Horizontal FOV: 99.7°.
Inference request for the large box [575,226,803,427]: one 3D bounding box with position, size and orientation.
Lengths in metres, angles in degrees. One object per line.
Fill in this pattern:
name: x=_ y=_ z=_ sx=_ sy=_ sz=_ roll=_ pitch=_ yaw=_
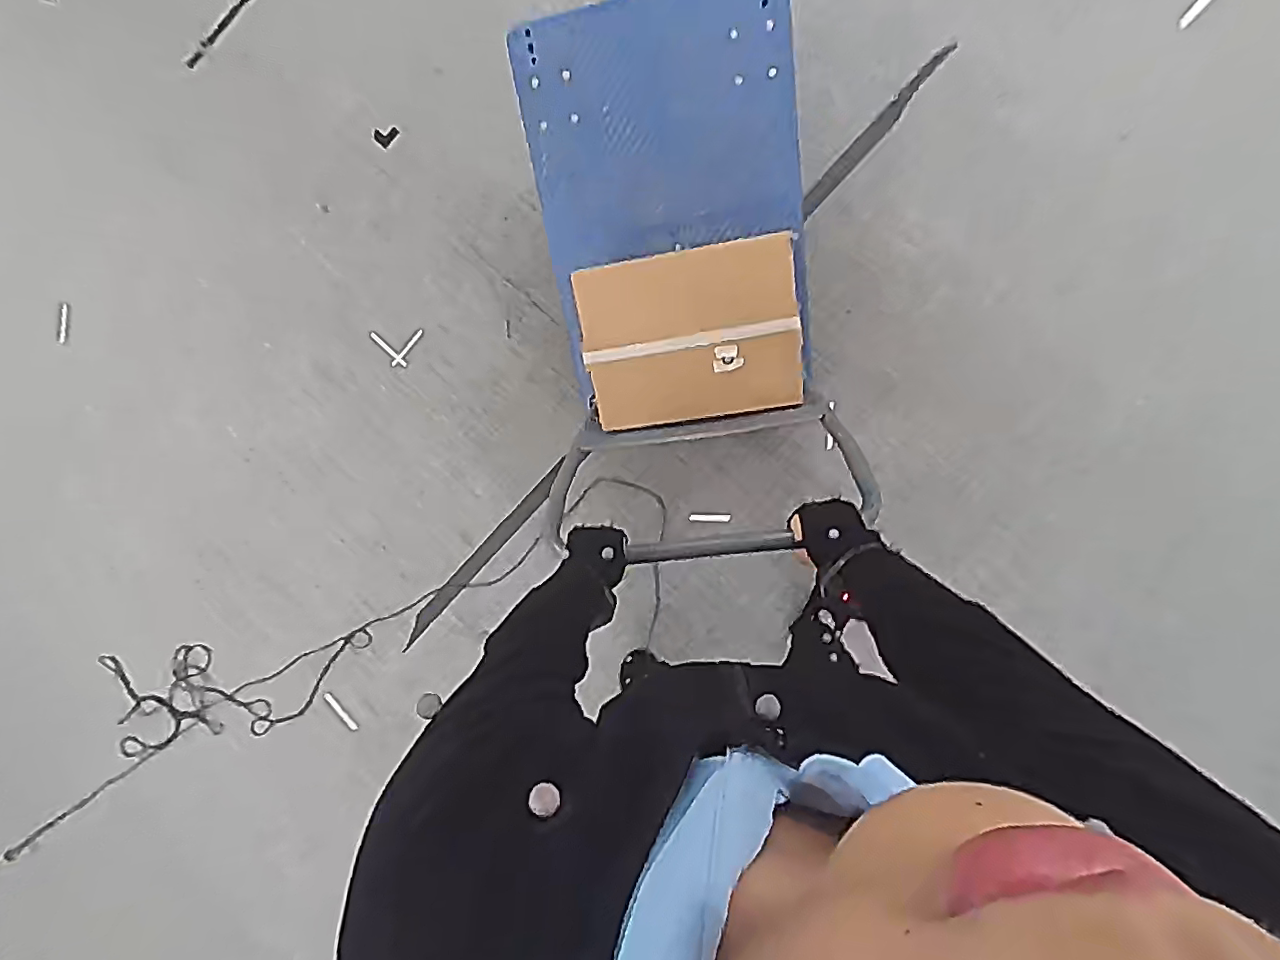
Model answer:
large box: x=0.109 y=-0.332 z=1.177 sx=0.408 sy=0.320 sz=0.320 roll=-9 pitch=111 yaw=8
